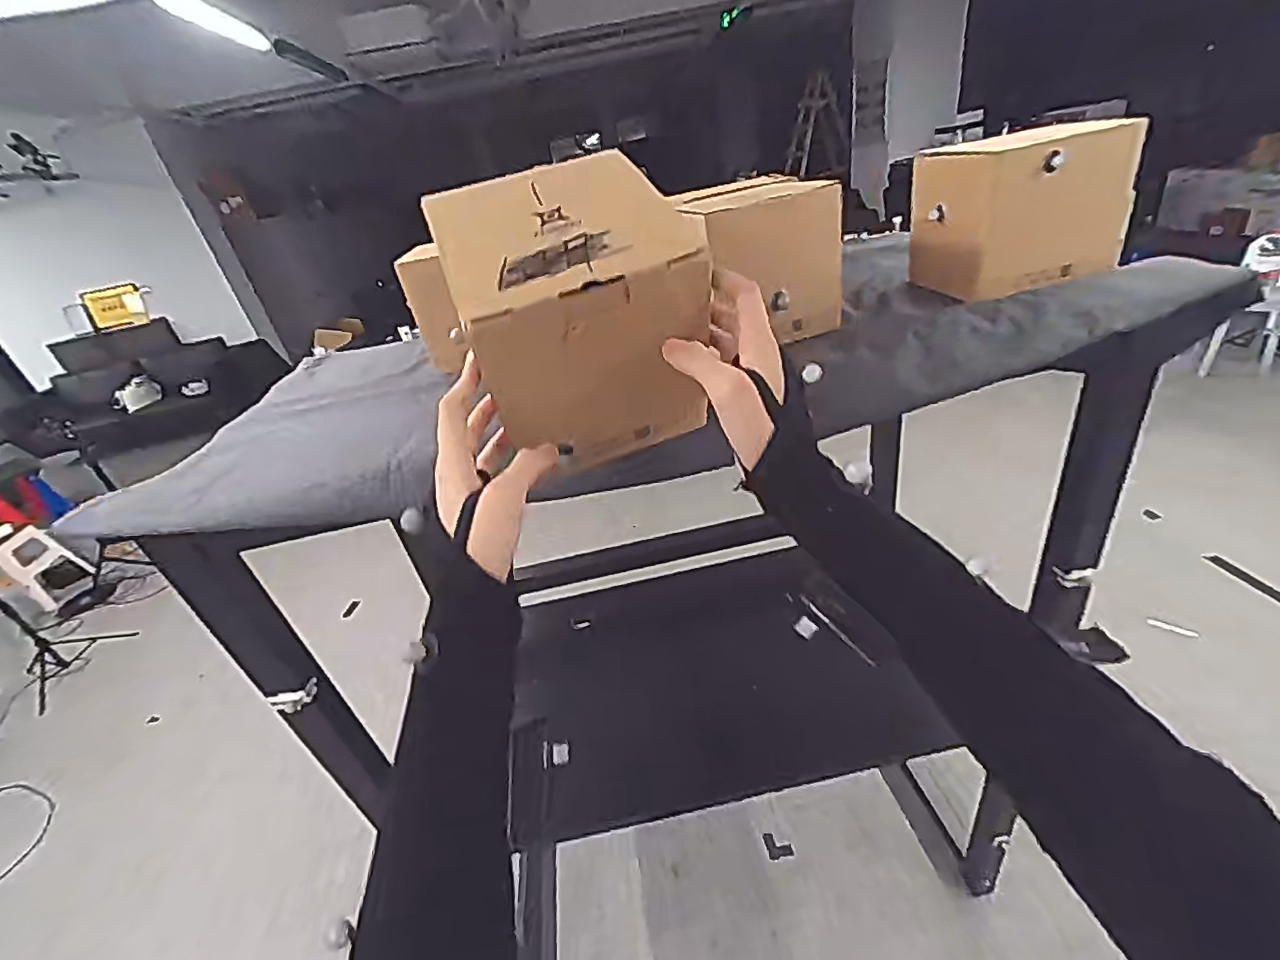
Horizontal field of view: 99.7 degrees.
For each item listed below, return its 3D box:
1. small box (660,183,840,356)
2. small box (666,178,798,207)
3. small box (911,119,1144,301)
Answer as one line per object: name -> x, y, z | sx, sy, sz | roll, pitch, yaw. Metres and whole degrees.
small box -> 0.137, -0.273, 0.700 | 0.168, 0.176, 0.179 | -17, 31, -9
small box -> 0.149, -0.387, 0.889 | 0.179, 0.176, 0.168 | -12, 29, 0
small box -> 0.467, -0.337, 0.689 | 0.168, 0.176, 0.179 | -12, 29, 2
